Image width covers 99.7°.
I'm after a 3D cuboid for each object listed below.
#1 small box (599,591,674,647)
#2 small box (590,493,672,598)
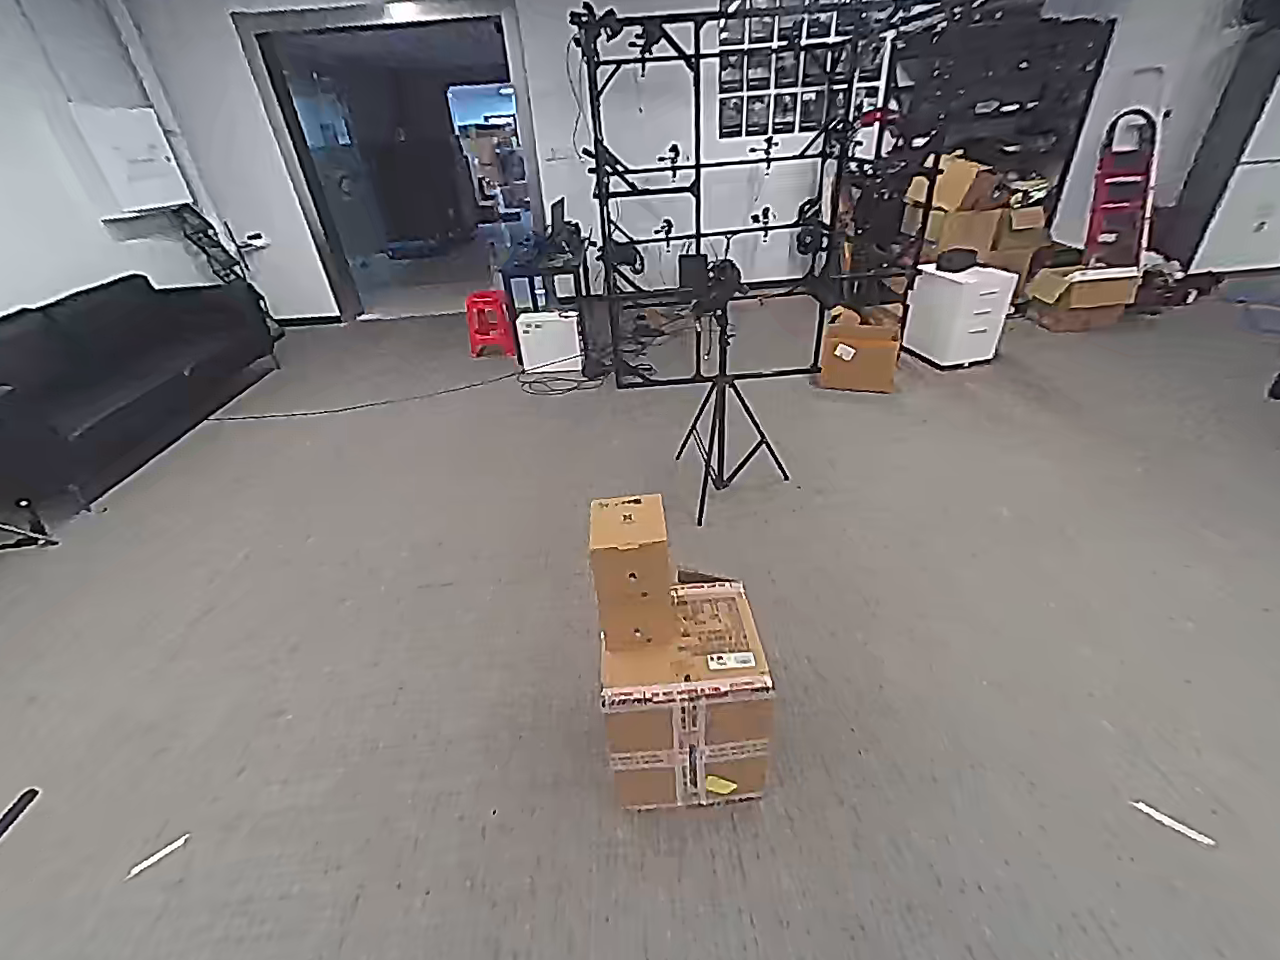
[{"bbox_3d":[-0.009,0.285,1.337,0.168,0.176,0.179,-7,35,0],"label":"small box"},{"bbox_3d":[-0.019,0.155,1.236,0.168,0.176,0.179,-6,35,1],"label":"small box"}]
